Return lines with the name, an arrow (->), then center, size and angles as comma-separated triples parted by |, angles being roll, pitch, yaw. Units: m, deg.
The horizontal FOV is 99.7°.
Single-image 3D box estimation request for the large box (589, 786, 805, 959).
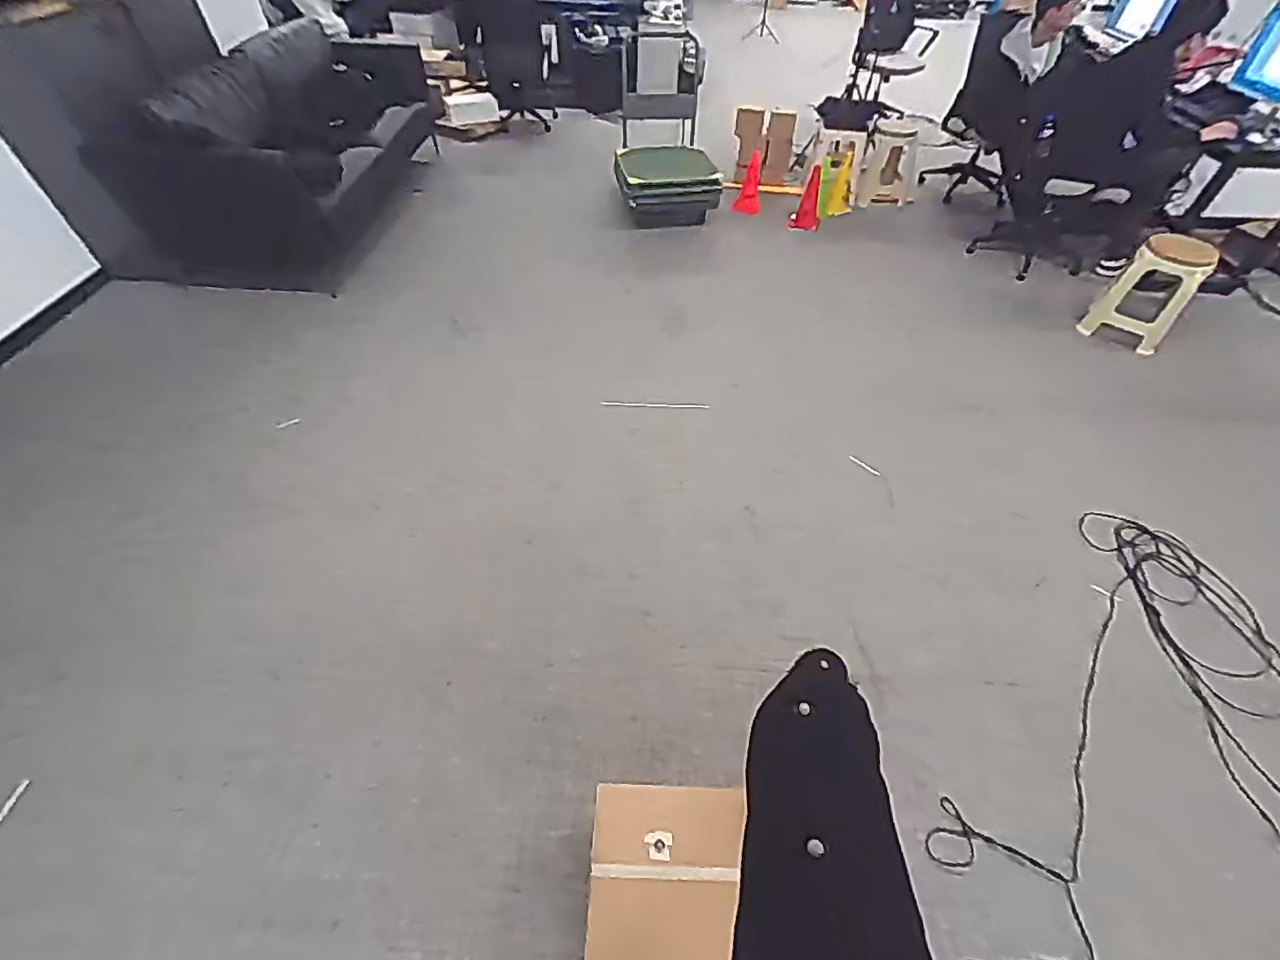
large box -> 0.107, 0.882, 1.190 | 0.408, 0.320, 0.320 | 1, 48, 1
